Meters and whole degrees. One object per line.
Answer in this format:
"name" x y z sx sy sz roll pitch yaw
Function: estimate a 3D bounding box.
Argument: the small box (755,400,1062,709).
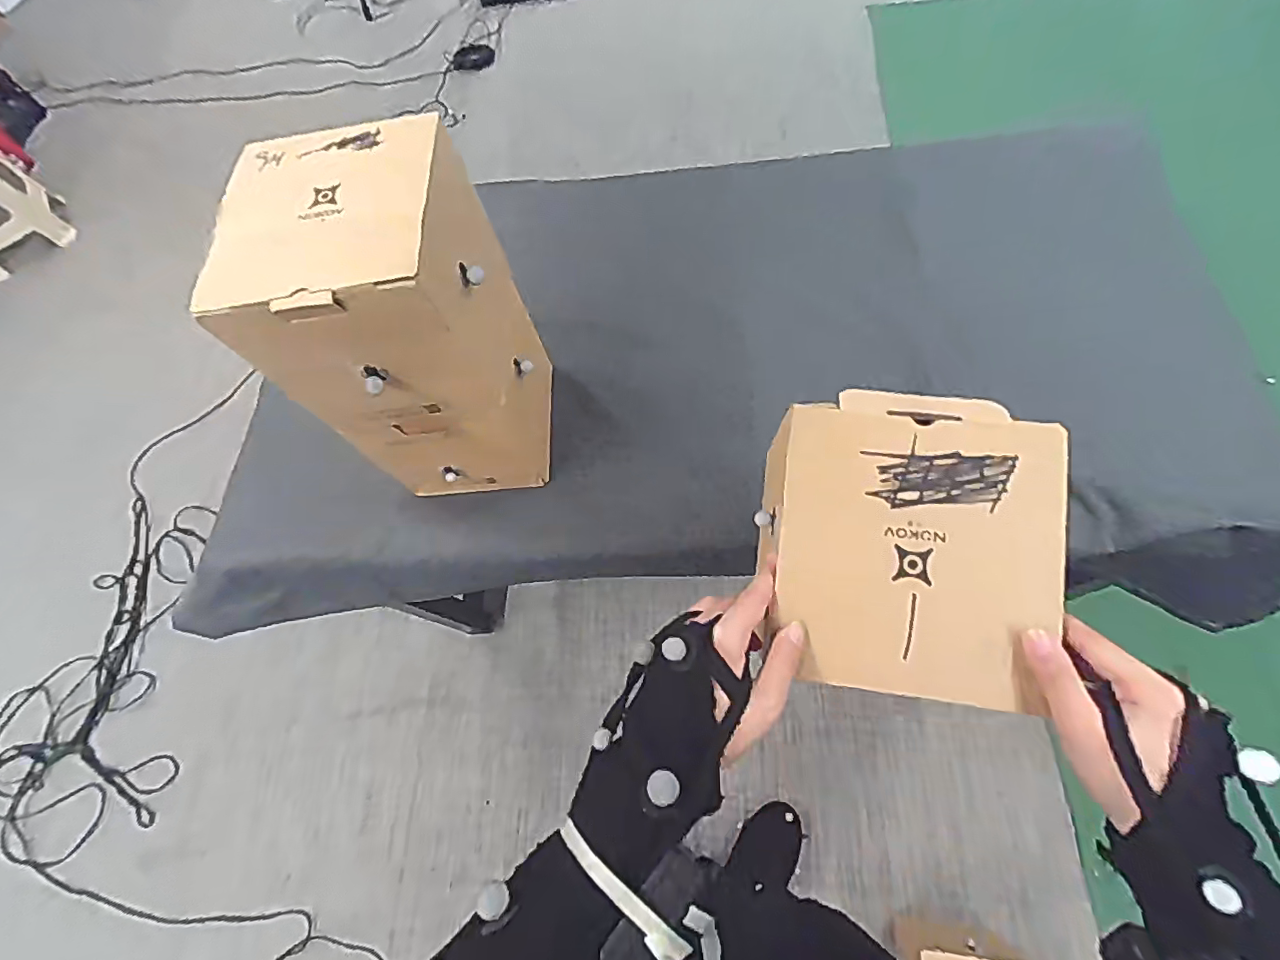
"small box" 0.180 0.050 0.413 0.168 0.176 0.179 5 84 10

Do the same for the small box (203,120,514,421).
"small box" -0.215 -0.163 0.469 0.168 0.176 0.179 -6 66 5

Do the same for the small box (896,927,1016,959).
"small box" 0.538 0.863 0.880 0.179 0.176 0.168 1 65 10

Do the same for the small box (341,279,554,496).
"small box" -0.200 -0.097 0.619 0.168 0.176 0.179 -5 65 5
